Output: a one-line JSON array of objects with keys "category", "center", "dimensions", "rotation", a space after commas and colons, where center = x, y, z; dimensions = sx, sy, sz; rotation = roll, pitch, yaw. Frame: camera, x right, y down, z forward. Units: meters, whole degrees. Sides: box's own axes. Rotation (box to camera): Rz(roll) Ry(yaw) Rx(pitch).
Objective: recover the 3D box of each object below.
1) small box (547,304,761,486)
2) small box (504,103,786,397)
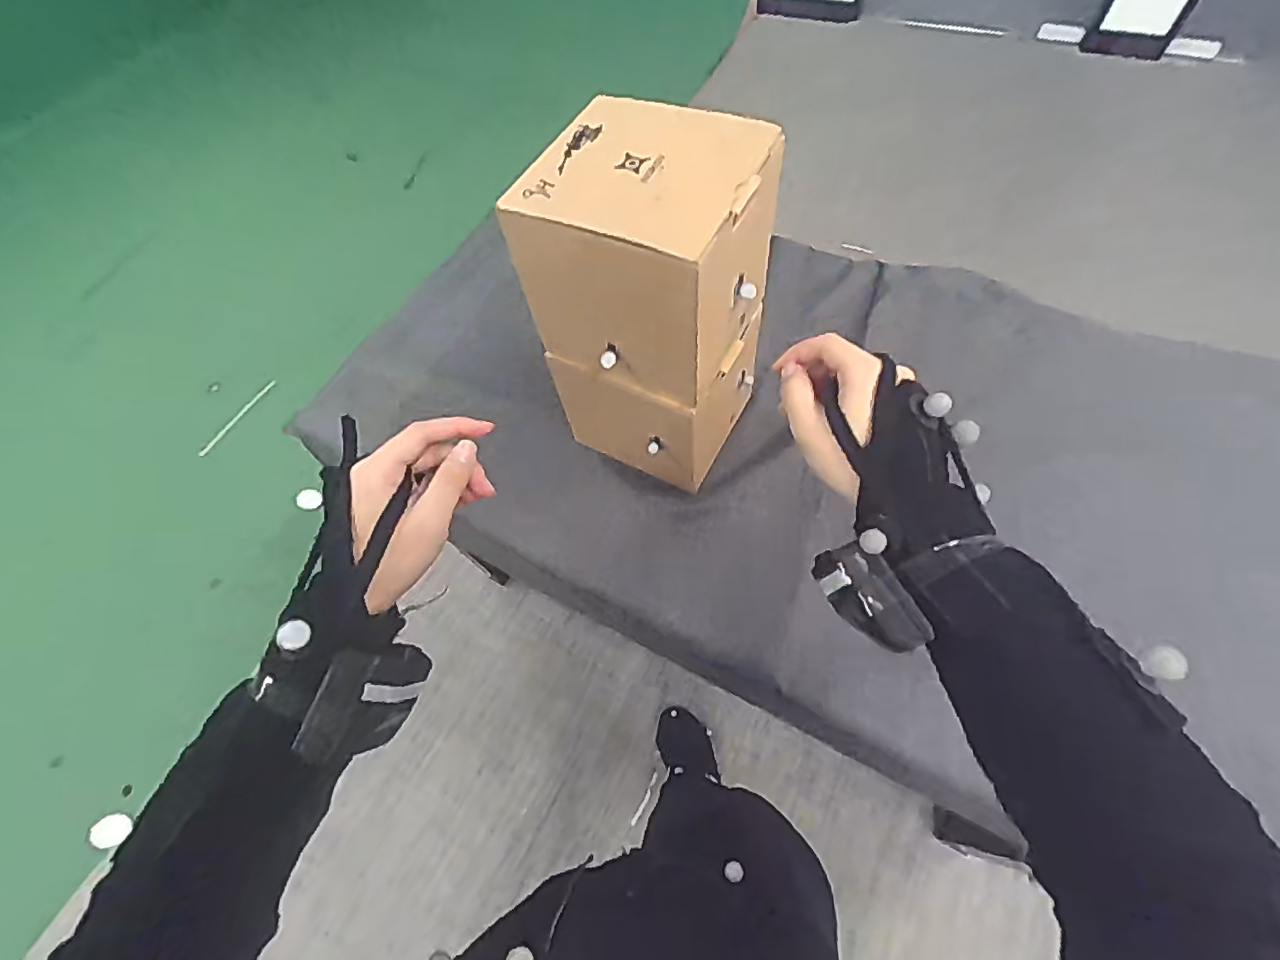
[{"category": "small box", "center": [0.023, -0.116, 0.639], "dimensions": [0.179, 0.176, 0.168], "rotation": [24, 65, 18]}, {"category": "small box", "center": [0.012, -0.202, 0.500], "dimensions": [0.179, 0.176, 0.168], "rotation": [23, 66, 17]}]
